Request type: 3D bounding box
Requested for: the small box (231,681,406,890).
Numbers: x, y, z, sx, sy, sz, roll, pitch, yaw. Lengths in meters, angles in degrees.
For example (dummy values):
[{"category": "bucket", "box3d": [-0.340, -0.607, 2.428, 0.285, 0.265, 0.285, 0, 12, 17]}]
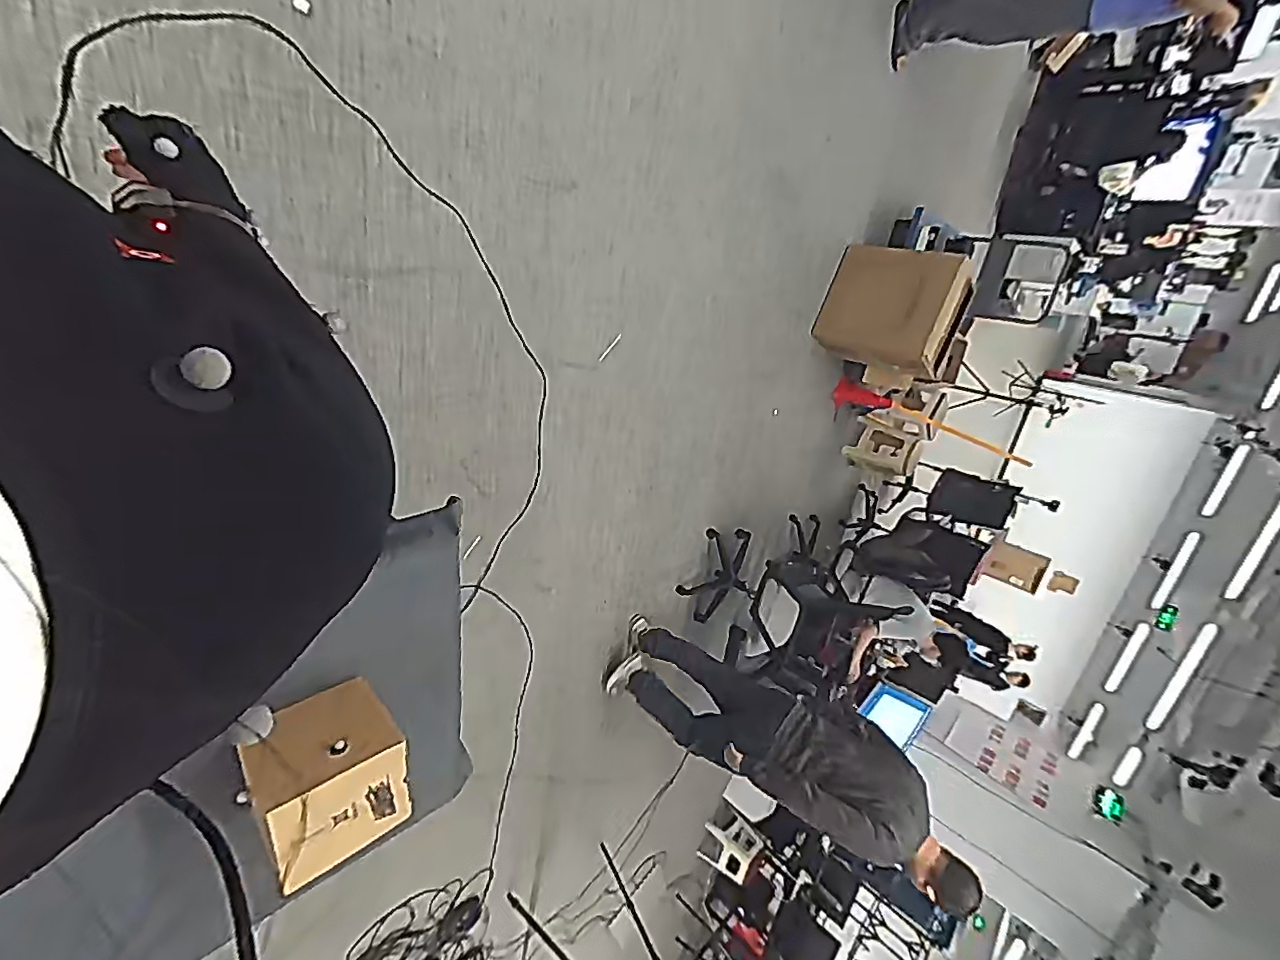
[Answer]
[{"category": "small box", "box3d": [-0.474, 0.437, 0.807, 0.179, 0.176, 0.168, -16, 122, -43]}]
